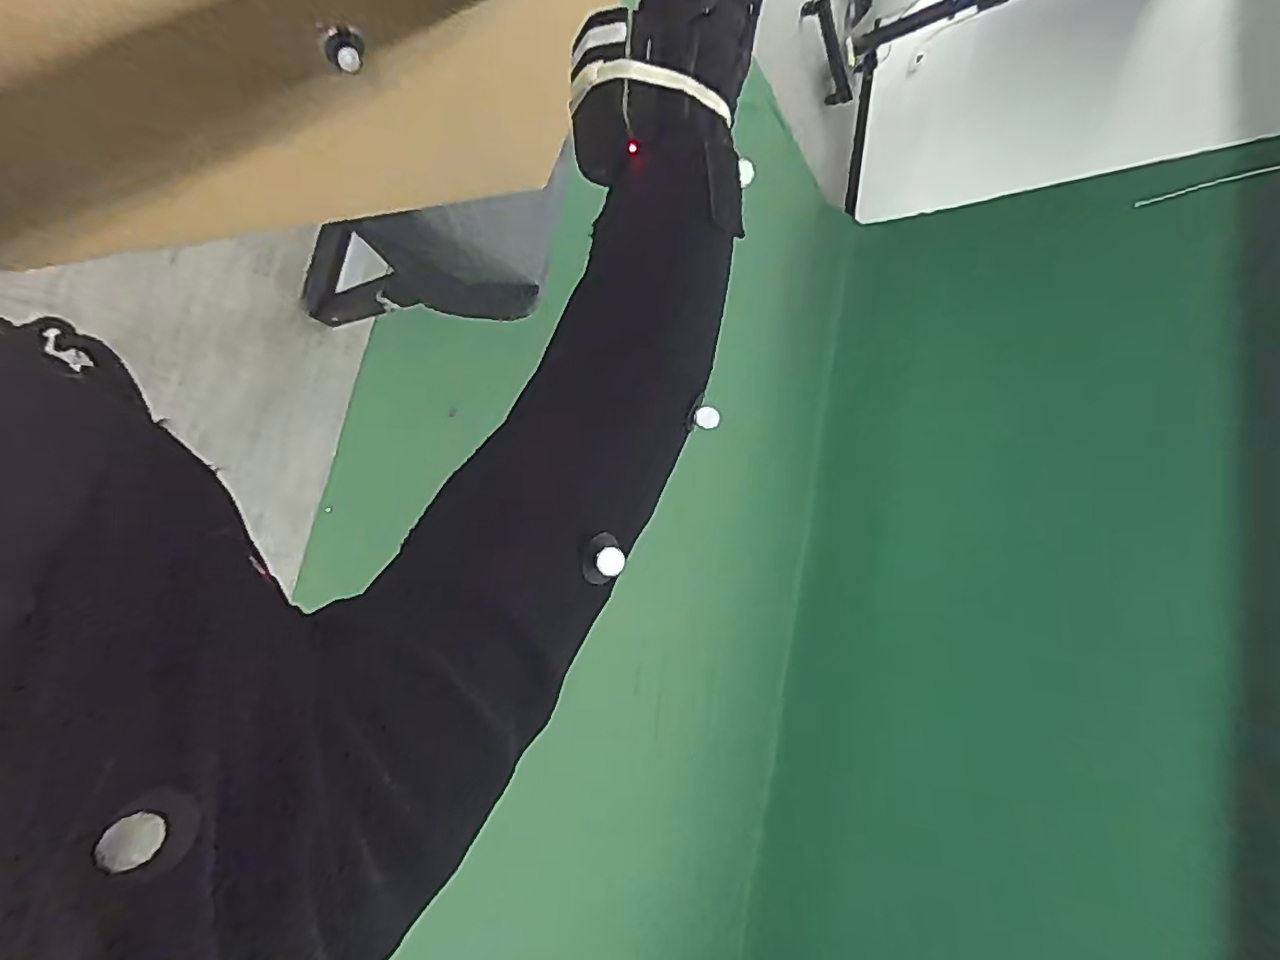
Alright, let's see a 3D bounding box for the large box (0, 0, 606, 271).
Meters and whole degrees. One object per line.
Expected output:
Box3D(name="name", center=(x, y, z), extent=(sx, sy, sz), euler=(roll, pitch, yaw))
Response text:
Box3D(name="large box", center=(-0.249, -0.382, 0.308), extent=(0.408, 0.320, 0.320), euler=(-33, 90, -33))
